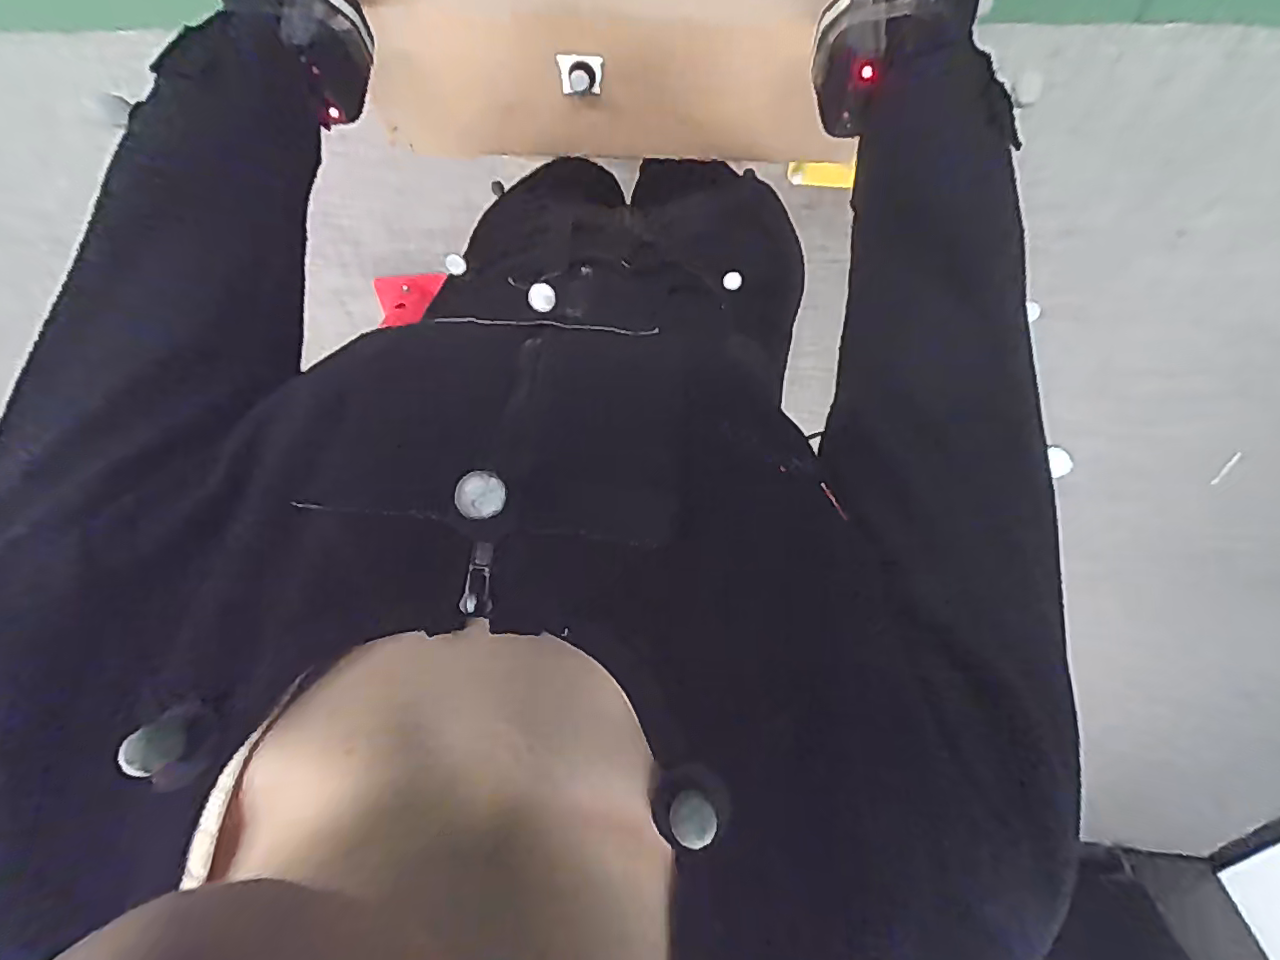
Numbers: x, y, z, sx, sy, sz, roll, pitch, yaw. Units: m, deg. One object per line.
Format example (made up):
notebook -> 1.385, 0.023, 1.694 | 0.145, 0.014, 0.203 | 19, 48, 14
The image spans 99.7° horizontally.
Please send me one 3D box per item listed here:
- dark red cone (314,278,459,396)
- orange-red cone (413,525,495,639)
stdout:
dark red cone -> -0.569, -0.286, 1.174 | 0.202, 0.394, 0.201 | -2, 125, 10
orange-red cone -> -0.627, 0.349, 1.715 | 0.199, 0.360, 0.198 | 21, 127, -6
